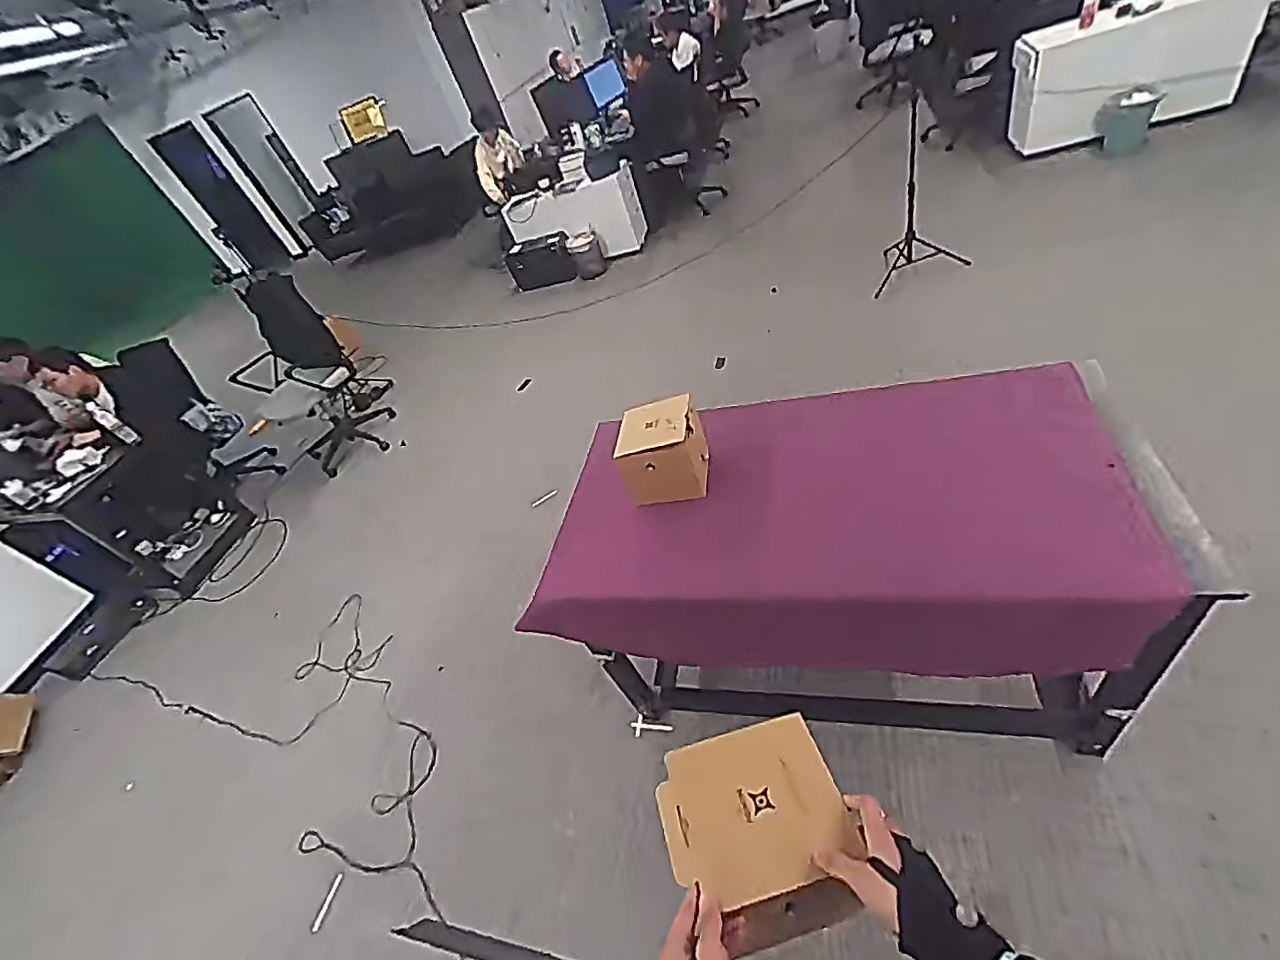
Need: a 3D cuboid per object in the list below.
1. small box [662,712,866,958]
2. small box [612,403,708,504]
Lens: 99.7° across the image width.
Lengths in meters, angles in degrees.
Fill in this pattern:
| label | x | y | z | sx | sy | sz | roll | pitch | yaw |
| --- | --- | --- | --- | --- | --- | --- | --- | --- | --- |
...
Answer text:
| label | x | y | z | sx | sy | sz | roll | pitch | yaw |
| --- | --- | --- | --- | --- | --- | --- | --- | --- | --- |
| small box | 0.140 | 0.412 | 0.631 | 0.179 | 0.176 | 0.168 | -16 | 35 | -4 |
| small box | 0.053 | -0.058 | 1.289 | 0.179 | 0.176 | 0.168 | -7 | 45 | 18 |
